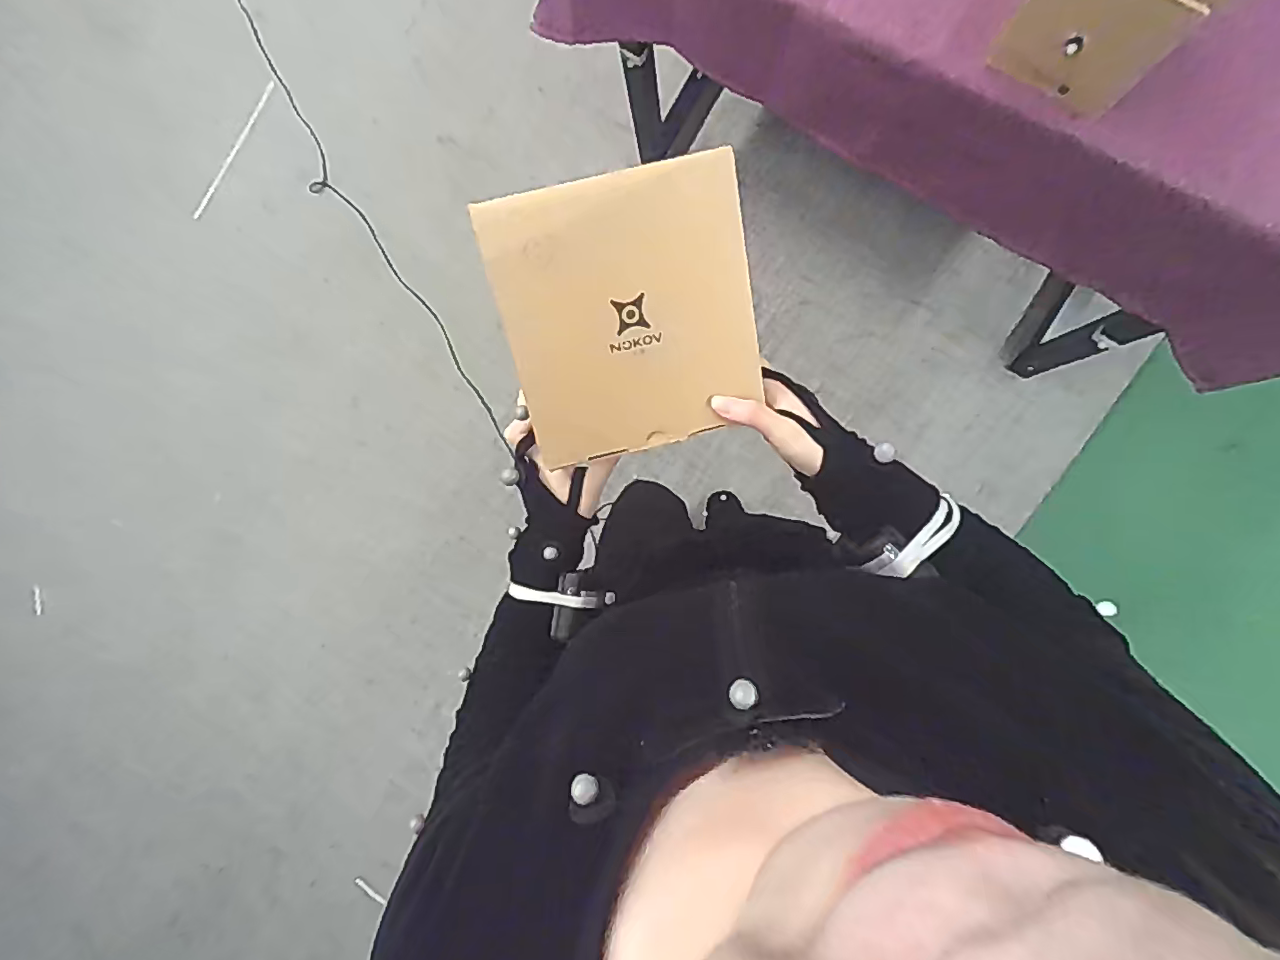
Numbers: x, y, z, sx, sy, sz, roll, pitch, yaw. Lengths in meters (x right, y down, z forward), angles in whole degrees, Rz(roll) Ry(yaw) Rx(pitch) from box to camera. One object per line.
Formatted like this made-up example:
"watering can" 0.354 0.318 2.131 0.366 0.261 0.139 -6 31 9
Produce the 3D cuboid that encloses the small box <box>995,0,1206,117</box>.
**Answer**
"small box" 0.575 -0.593 0.651 0.168 0.176 0.179 34 93 5
